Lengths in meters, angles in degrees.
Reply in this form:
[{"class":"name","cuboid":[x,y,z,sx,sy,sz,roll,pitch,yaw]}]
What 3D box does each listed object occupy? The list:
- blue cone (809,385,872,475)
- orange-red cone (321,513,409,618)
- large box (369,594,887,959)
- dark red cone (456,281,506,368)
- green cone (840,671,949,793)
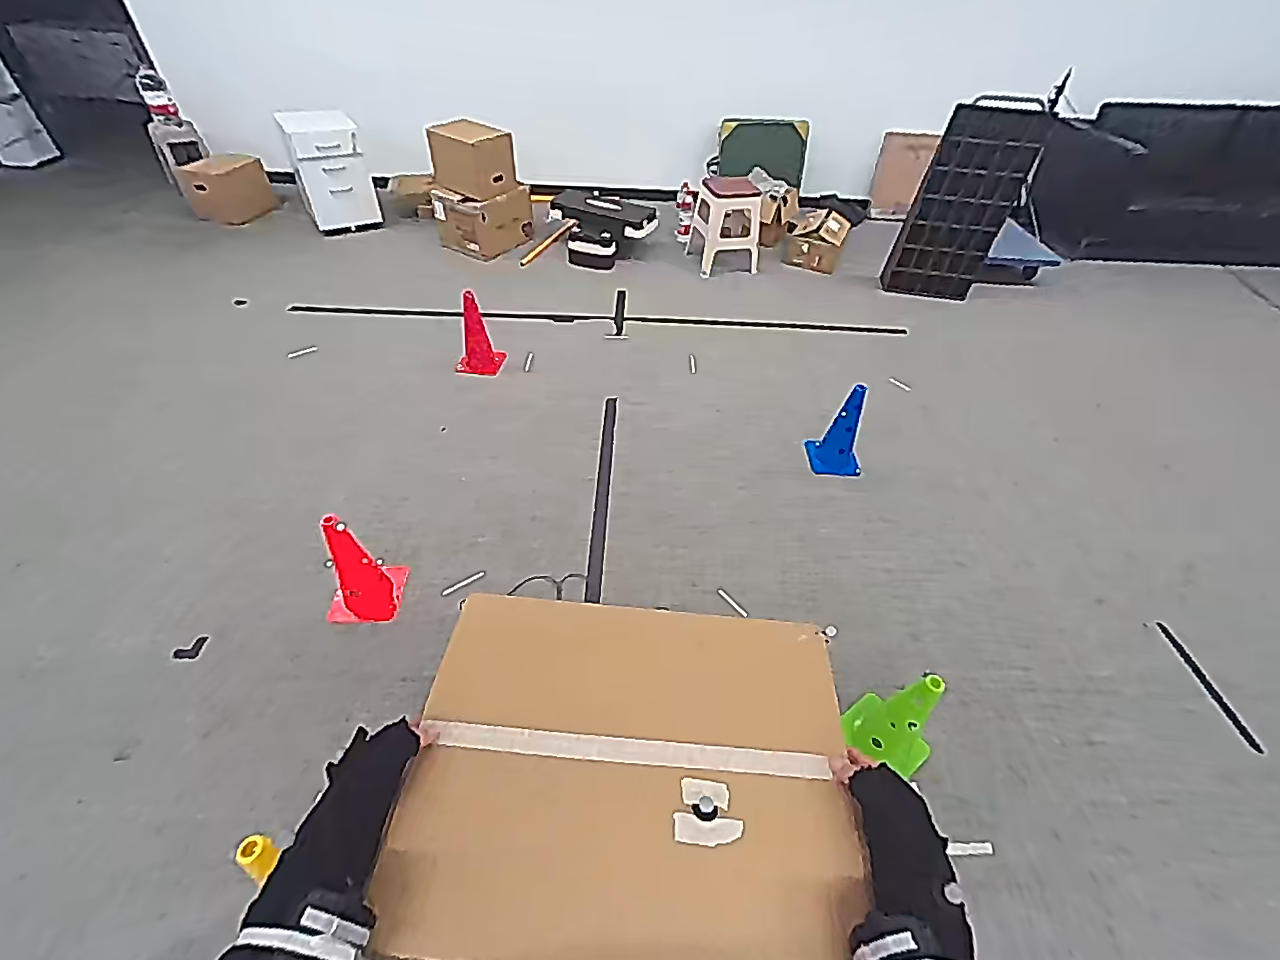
[{"class":"blue cone","cuboid":[0.813,-0.209,2.118,0.192,0.380,0.193,5,45,0]},{"class":"orange-red cone","cuboid":[-0.831,0.225,1.560,0.198,0.360,0.199,0,47,-2]},{"class":"large box","cuboid":[-0.011,0.360,0.614,0.408,0.320,0.320,6,44,1]},{"class":"dark red cone","cuboid":[-0.744,-0.711,2.459,0.201,0.394,0.202,7,45,2]},{"class":"green cone","cuboid":[0.646,0.568,1.312,0.202,0.368,0.200,-26,53,-28]}]
